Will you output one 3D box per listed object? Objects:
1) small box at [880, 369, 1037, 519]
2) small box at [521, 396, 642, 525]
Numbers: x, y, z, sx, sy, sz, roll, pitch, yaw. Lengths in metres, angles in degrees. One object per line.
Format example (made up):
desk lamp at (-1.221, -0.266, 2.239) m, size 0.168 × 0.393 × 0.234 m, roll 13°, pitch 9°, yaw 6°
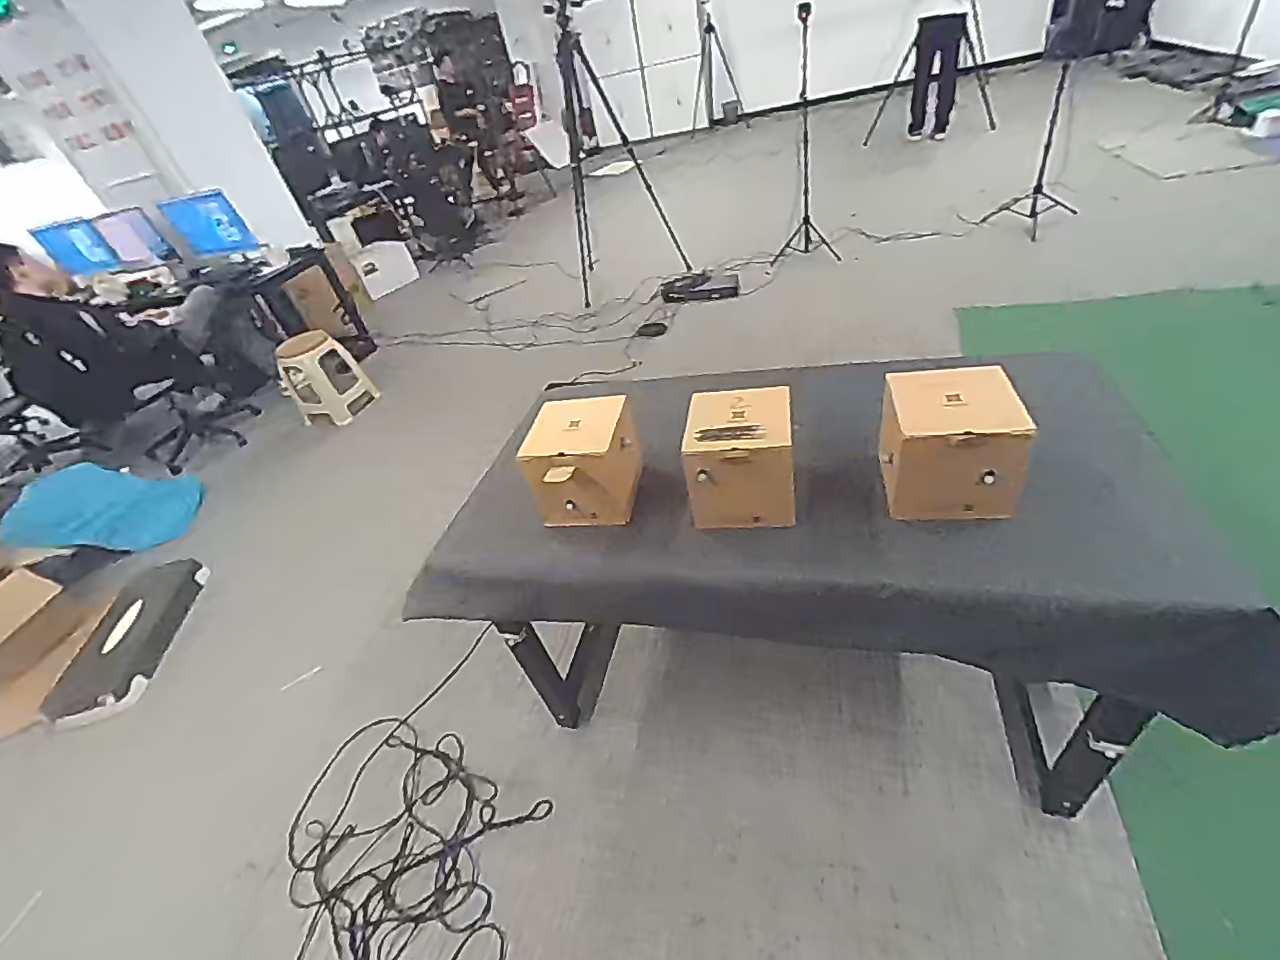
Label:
small box at (0.480, -0.053, 0.846) m, size 0.168 × 0.176 × 0.179 m, roll -1°, pitch 39°, yaw 15°
small box at (-0.097, -0.037, 1.008) m, size 0.168 × 0.176 × 0.179 m, roll -2°, pitch 41°, yaw 14°
